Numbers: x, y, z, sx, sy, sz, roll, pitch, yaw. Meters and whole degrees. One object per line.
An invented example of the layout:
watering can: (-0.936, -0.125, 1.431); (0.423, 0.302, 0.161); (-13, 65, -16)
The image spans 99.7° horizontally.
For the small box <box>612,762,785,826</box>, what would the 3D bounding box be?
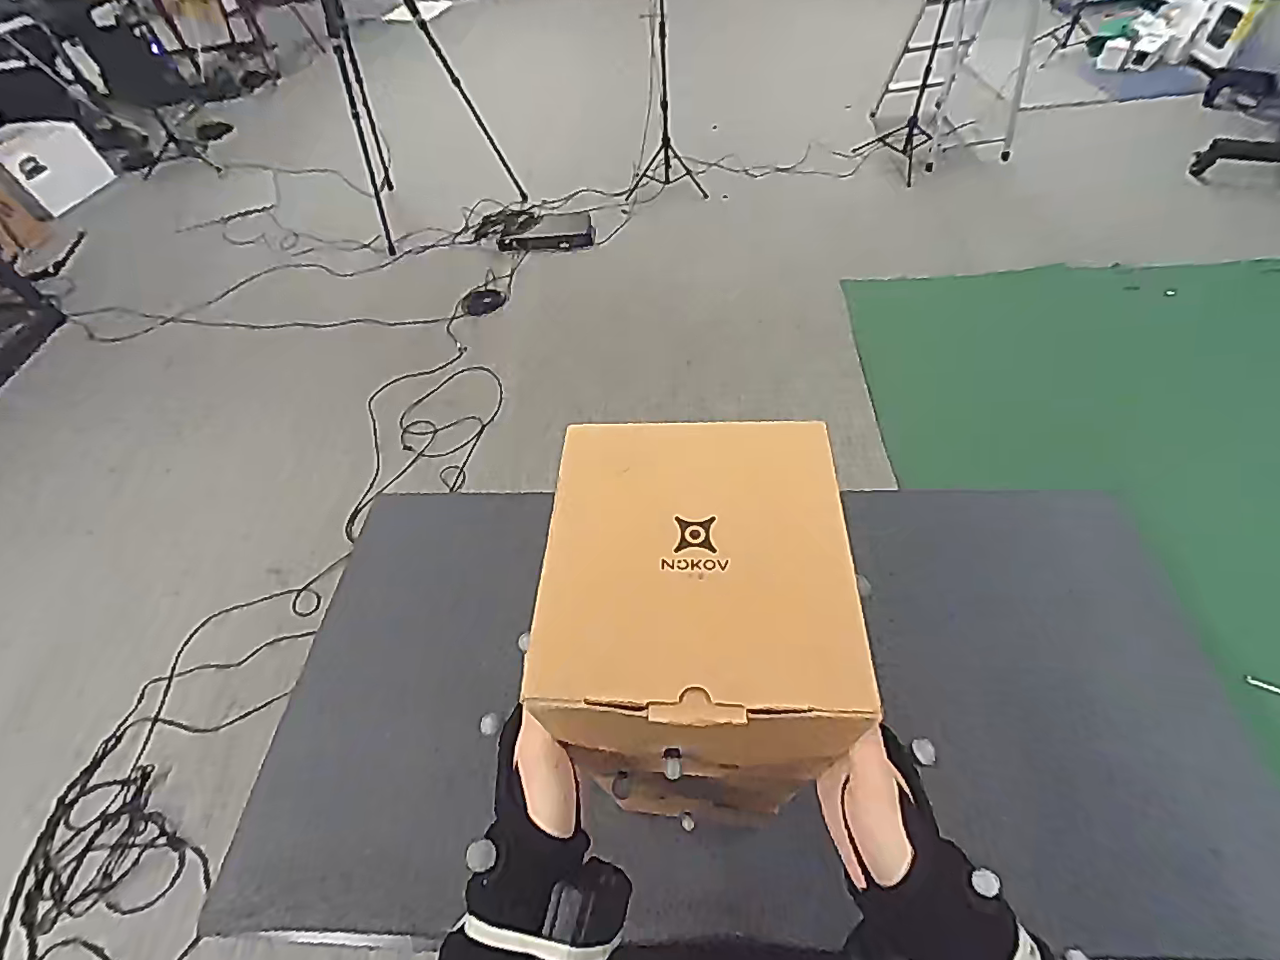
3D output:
small box: (0.069, 0.275, 0.617); (0.168, 0.176, 0.179); (3, 53, 8)

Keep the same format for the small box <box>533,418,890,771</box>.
small box: (0.040, 0.078, 0.359); (0.168, 0.176, 0.179); (-1, 53, 5)
